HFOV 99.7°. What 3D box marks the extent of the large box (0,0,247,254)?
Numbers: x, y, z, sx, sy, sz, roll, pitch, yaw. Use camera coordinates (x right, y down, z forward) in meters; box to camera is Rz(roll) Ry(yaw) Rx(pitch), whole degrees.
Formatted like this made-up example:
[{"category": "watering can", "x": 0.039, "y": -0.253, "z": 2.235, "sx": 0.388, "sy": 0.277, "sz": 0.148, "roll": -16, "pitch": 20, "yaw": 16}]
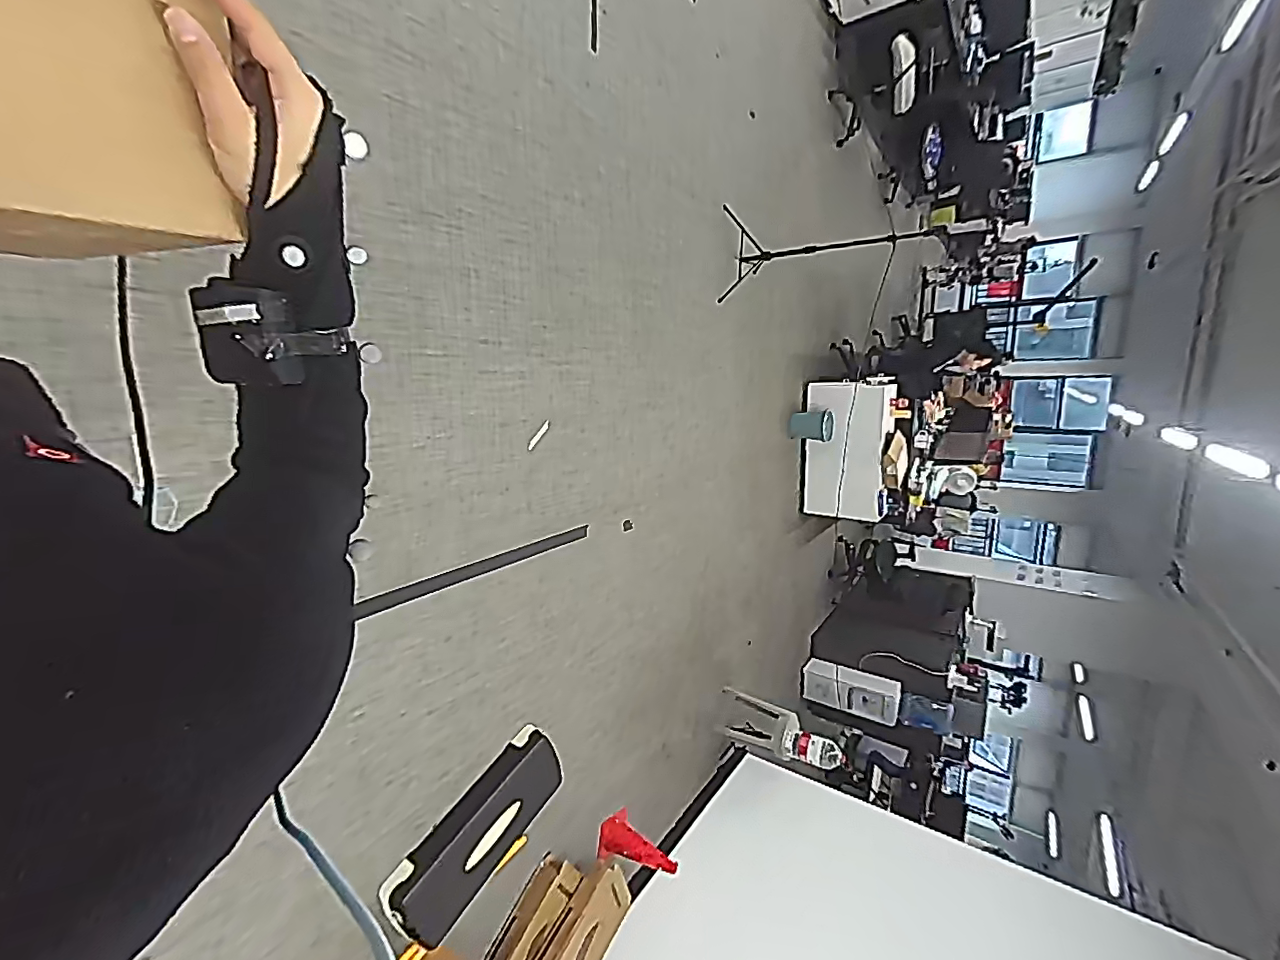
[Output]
[{"category": "large box", "x": -0.472, "y": -0.278, "z": 0.206, "sx": 0.408, "sy": 0.320, "sz": 0.320, "roll": -23, "pitch": 120, "yaw": -57}]
